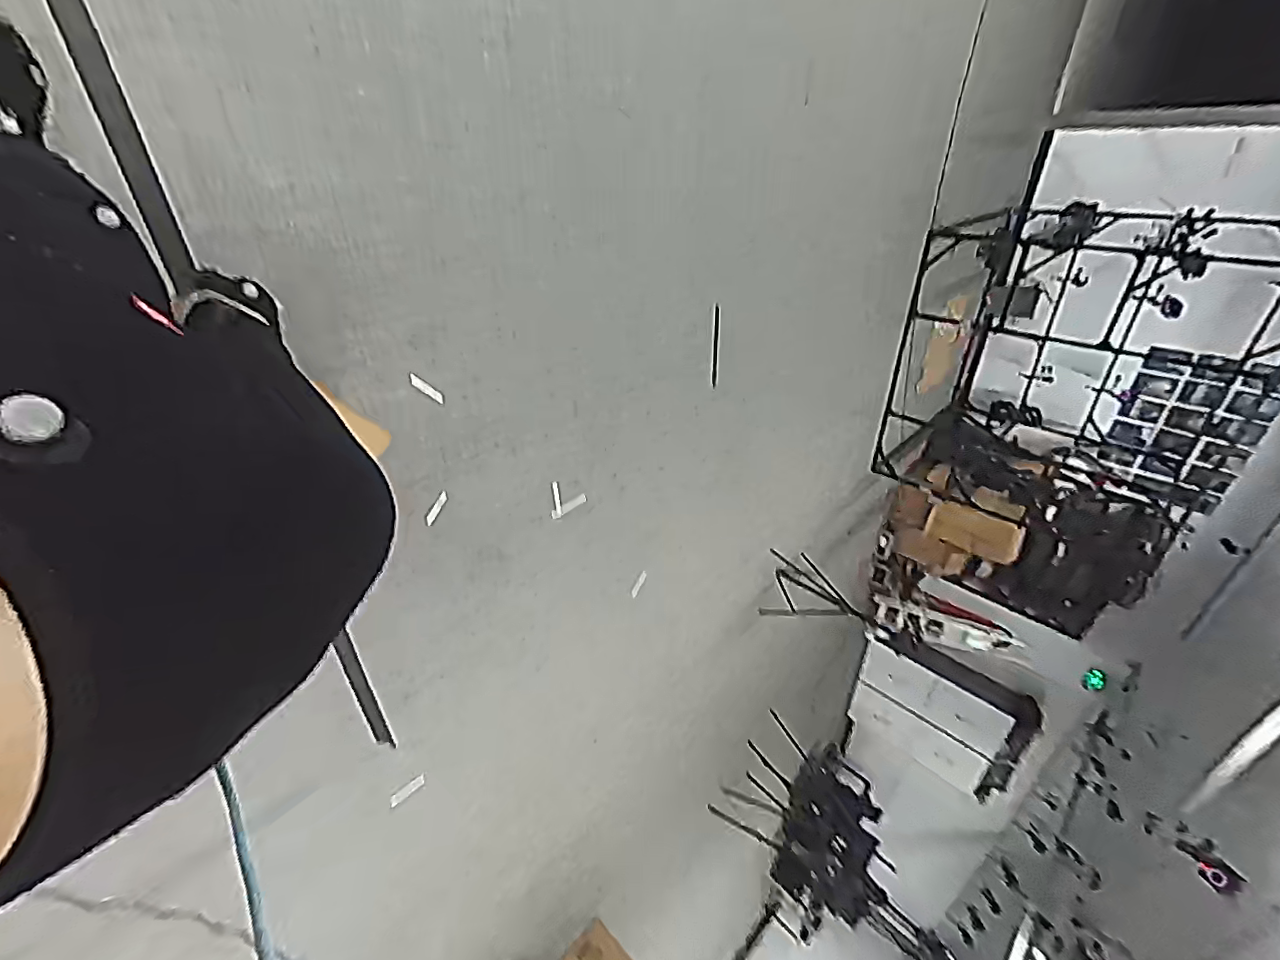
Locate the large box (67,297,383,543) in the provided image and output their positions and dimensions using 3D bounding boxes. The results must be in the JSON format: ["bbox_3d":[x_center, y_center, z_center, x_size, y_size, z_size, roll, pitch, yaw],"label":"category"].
[{"bbox_3d":[-0.860,-0.119,1.152,0.320,0.320,0.408,-57,143,-9],"label":"large box"}]
